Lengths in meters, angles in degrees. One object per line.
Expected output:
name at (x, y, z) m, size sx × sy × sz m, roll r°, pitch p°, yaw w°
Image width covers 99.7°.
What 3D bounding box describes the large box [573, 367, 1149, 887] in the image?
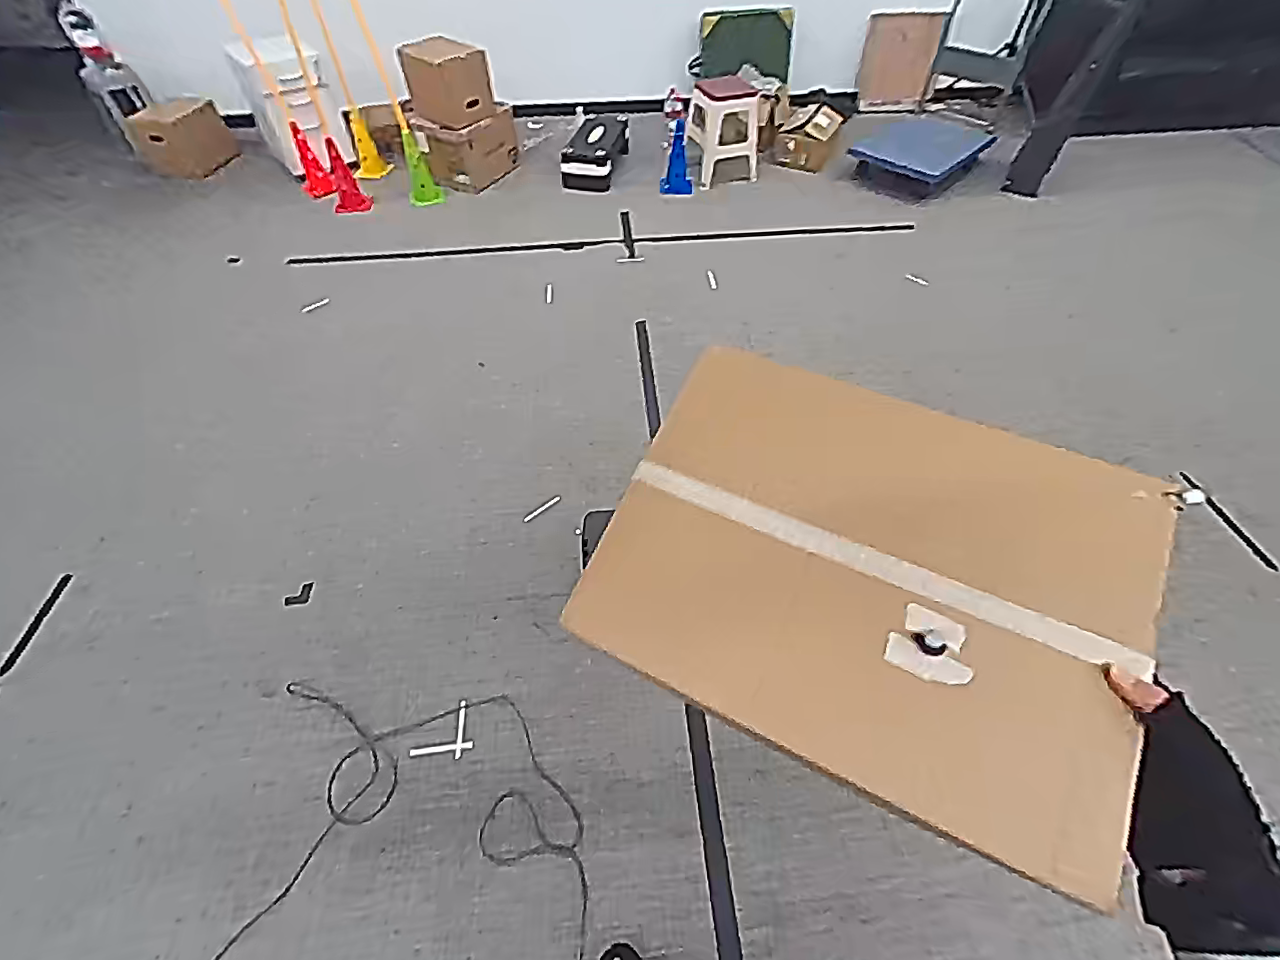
large box at (0.200, 0.135, 0.588) m, size 0.408 × 0.320 × 0.320 m, roll 21°, pitch 71°, yaw 18°
